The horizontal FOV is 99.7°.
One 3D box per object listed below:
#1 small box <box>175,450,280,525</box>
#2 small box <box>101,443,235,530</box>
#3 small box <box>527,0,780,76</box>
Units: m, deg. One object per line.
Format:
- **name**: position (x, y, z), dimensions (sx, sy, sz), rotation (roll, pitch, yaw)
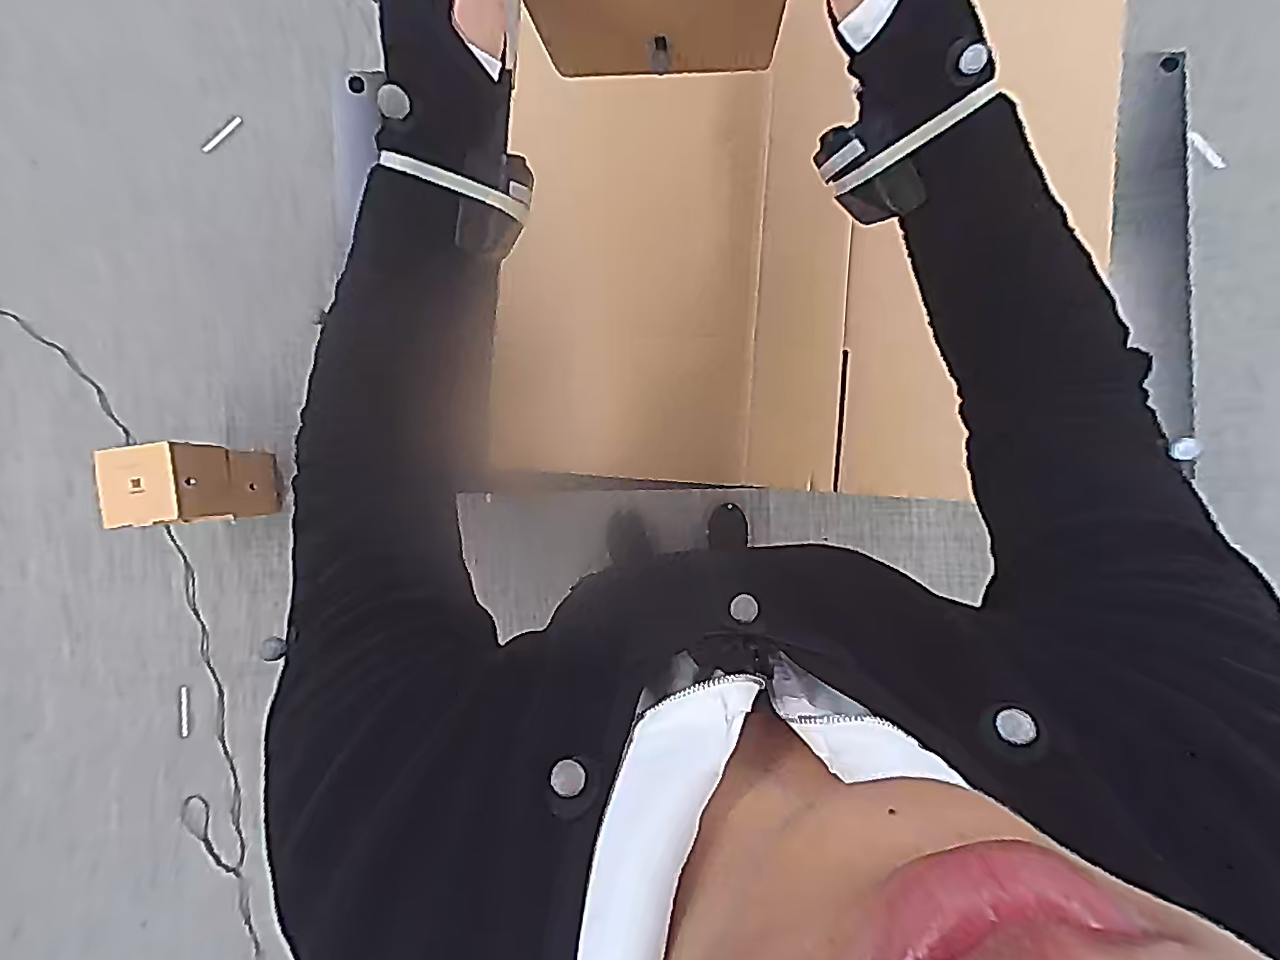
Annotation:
- **small box**: position (-1.088, 0.019, 1.427), dimensions (0.168, 0.176, 0.179), rotation (-5, 91, 0)
- **small box**: position (-1.090, 0.013, 1.264), dimensions (0.168, 0.176, 0.179), rotation (-8, 89, 0)
- **small box**: position (0.011, -0.394, 0.346), dimensions (0.179, 0.176, 0.168), rotation (1, 100, 5)
